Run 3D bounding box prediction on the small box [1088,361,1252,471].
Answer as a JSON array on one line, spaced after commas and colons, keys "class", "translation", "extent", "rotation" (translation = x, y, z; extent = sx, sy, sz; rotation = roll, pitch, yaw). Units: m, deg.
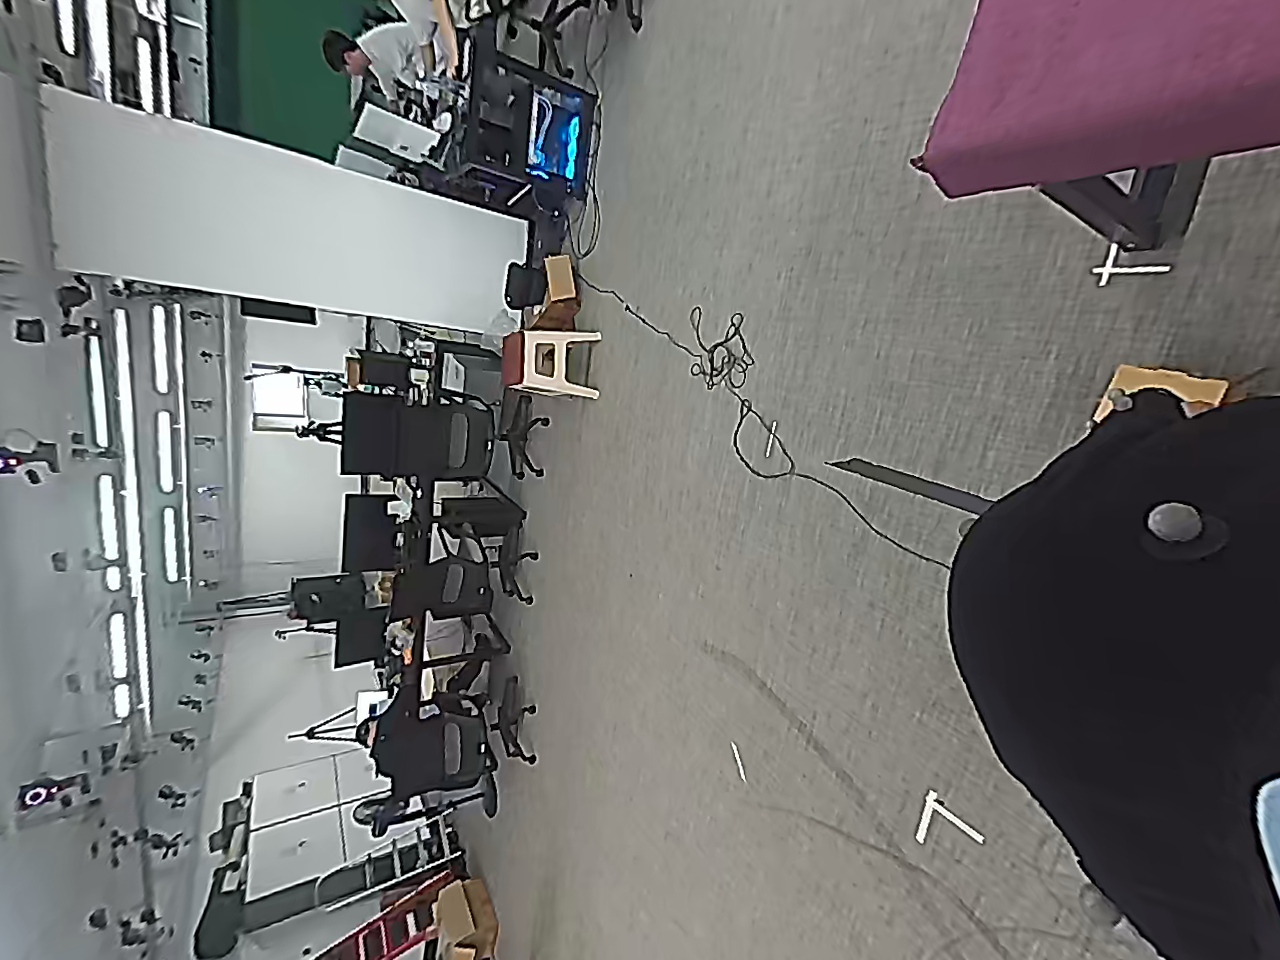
[{"class": "small box", "translation": [1.055, -0.126, 1.076], "extent": [0.168, 0.176, 0.179], "rotation": [36, 120, 50]}]
